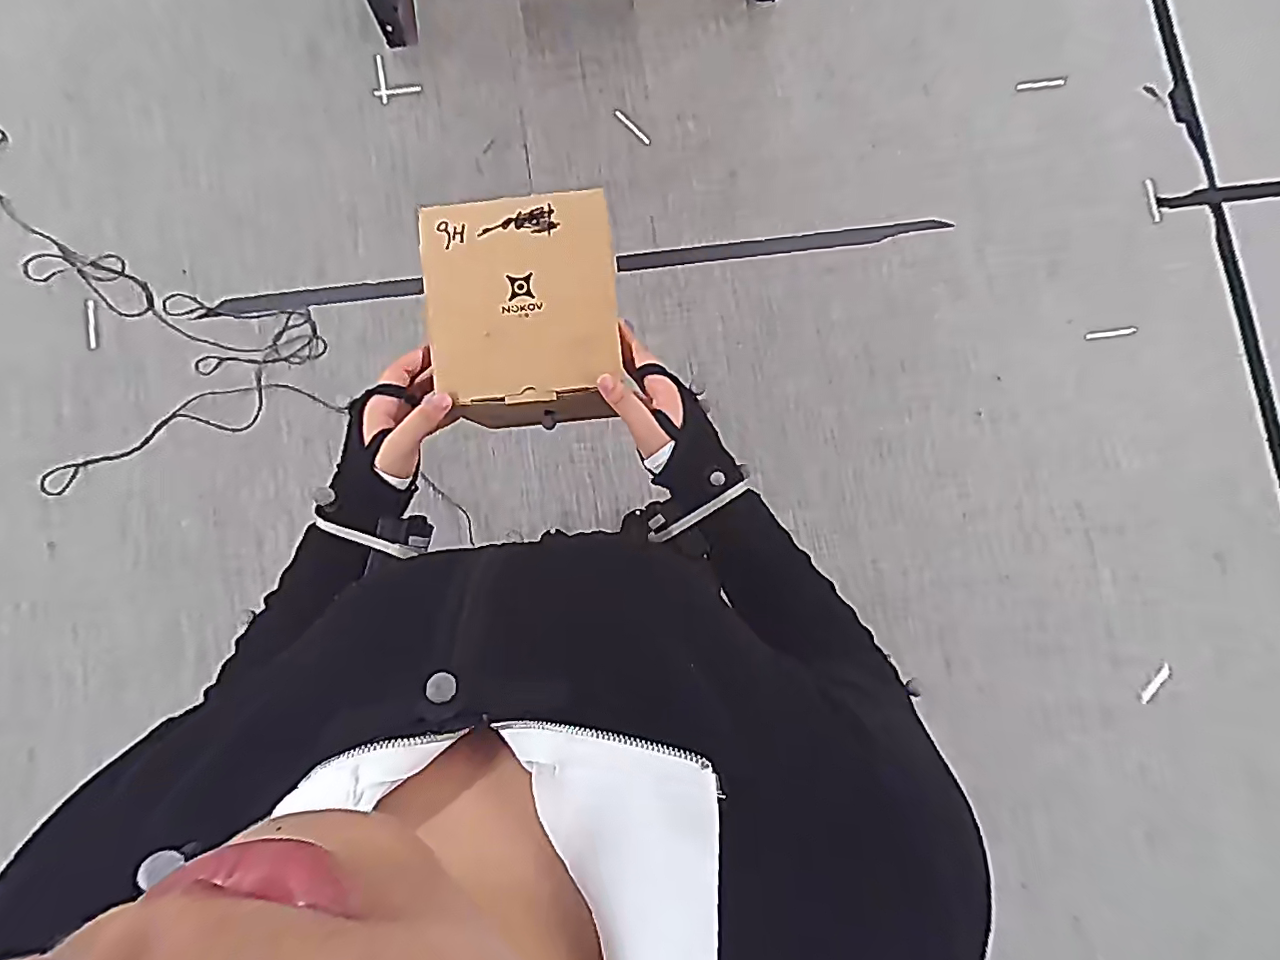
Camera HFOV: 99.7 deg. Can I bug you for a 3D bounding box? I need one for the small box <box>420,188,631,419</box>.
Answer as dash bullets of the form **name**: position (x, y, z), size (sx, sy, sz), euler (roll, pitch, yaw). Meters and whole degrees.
- **small box**: position (-0.101, -0.159, 0.548), size (0.168, 0.176, 0.179), euler (-6, 89, 1)
